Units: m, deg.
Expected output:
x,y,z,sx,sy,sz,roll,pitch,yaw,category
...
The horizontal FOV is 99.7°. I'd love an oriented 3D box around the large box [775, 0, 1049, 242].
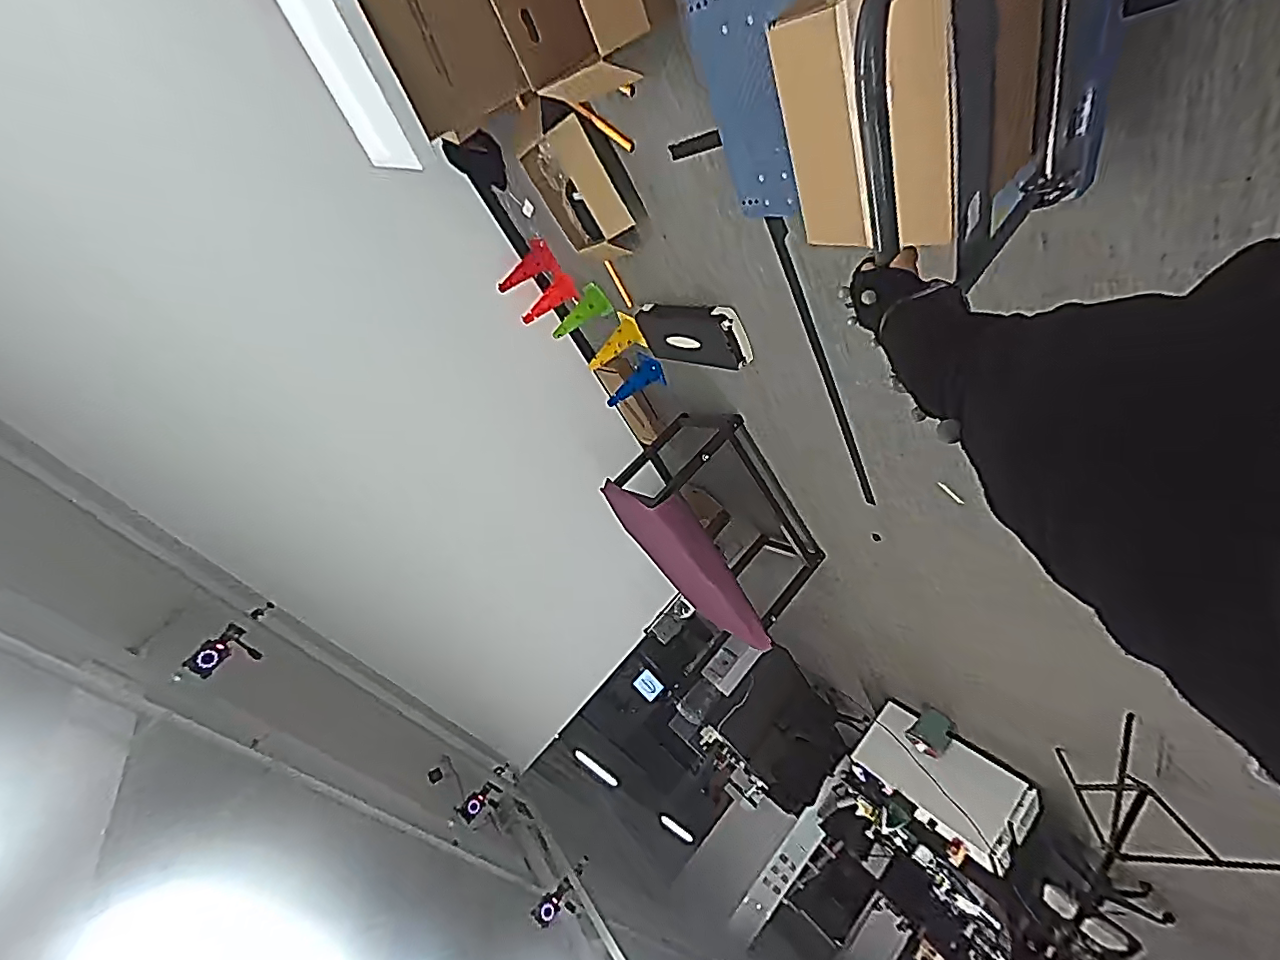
x,y,z,sx,sy,sz,roll,pitch,yaw,category
0.507,-0.708,0.997,0.320,0.320,0.408,27,154,46,large box
